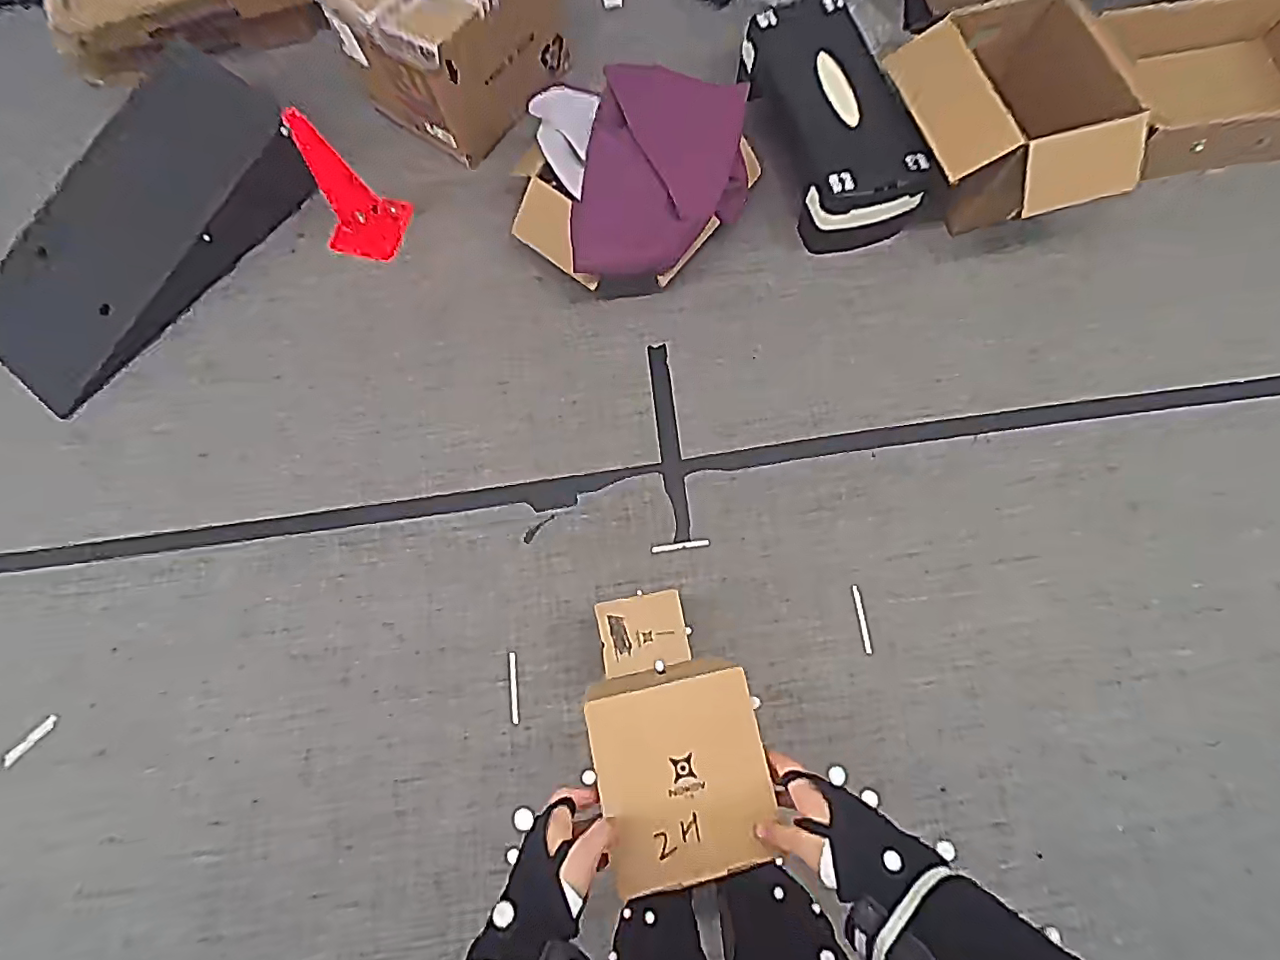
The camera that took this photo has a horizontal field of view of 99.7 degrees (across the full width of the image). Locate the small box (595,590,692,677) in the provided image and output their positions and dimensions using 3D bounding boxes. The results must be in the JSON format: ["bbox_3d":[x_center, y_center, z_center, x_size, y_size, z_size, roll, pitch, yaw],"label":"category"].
[{"bbox_3d":[0.009,0.334,1.142,0.179,0.176,0.168,-10,75,-2],"label":"small box"}]

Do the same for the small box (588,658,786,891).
[{"bbox_3d":[0.037,0.300,0.598,0.168,0.176,0.179,-11,76,-6],"label":"small box"}]
